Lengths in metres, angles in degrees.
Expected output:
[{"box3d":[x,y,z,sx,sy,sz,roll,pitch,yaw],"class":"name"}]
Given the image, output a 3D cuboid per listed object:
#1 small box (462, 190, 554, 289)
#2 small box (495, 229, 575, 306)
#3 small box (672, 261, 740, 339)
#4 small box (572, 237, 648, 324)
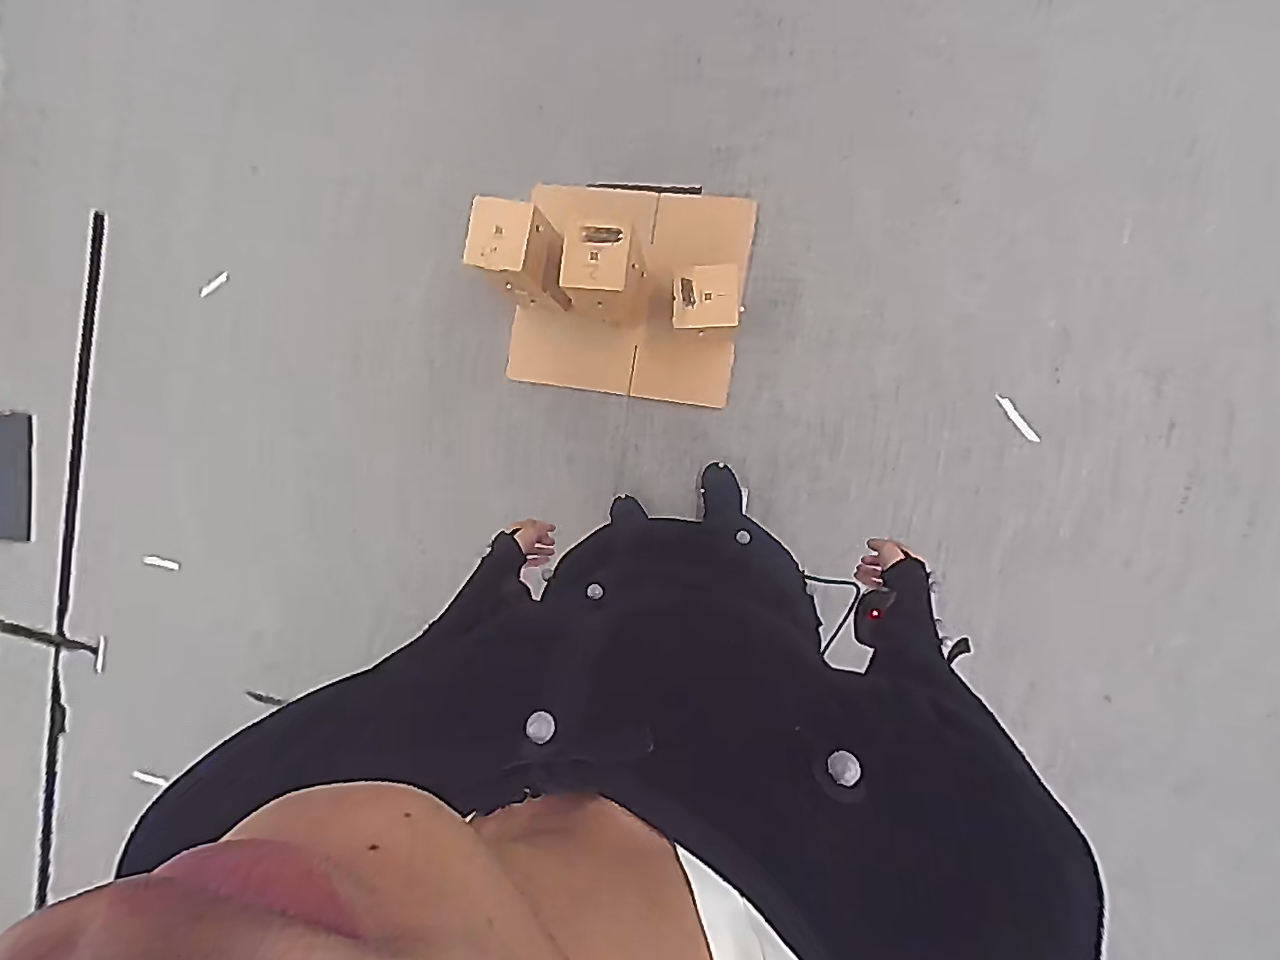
[{"box3d":[-0.337,-0.624,1.417,0.168,0.176,0.179,13,94,10],"class":"small box"},{"box3d":[-0.299,-0.621,1.578,0.168,0.176,0.179,12,95,10],"class":"small box"},{"box3d":[0.187,-0.492,1.498,0.179,0.176,0.168,1,92,10],"class":"small box"},{"box3d":[-0.080,-0.563,1.543,0.168,0.176,0.179,13,94,9],"class":"small box"}]
